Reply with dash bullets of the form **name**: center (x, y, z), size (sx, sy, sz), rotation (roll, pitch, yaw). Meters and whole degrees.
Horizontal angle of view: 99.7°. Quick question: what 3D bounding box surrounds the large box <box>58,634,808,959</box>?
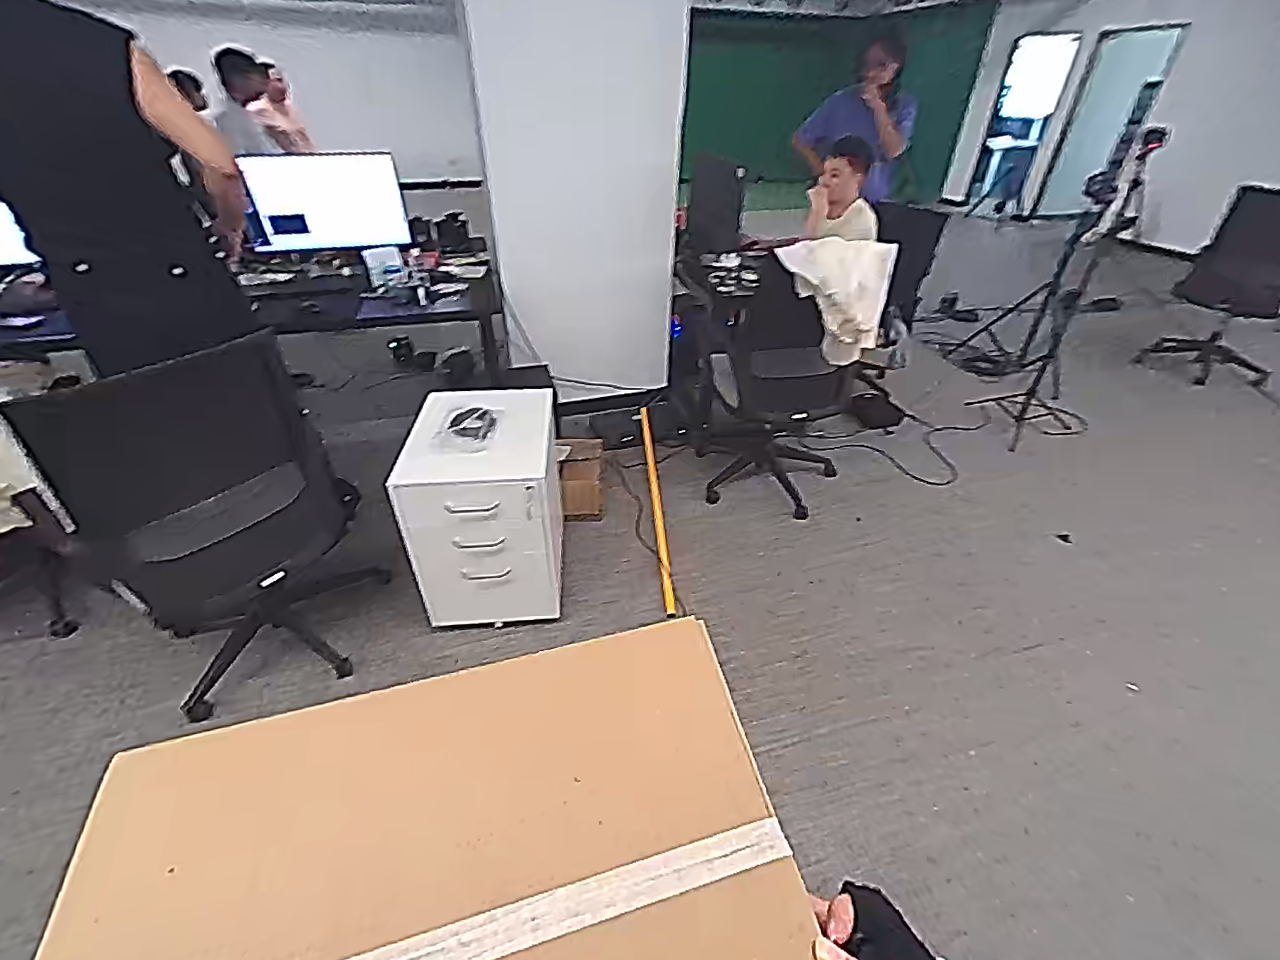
- **large box**: center (-0.111, 0.368, 0.405), size (0.408, 0.320, 0.320), rotation (-11, 47, -11)
